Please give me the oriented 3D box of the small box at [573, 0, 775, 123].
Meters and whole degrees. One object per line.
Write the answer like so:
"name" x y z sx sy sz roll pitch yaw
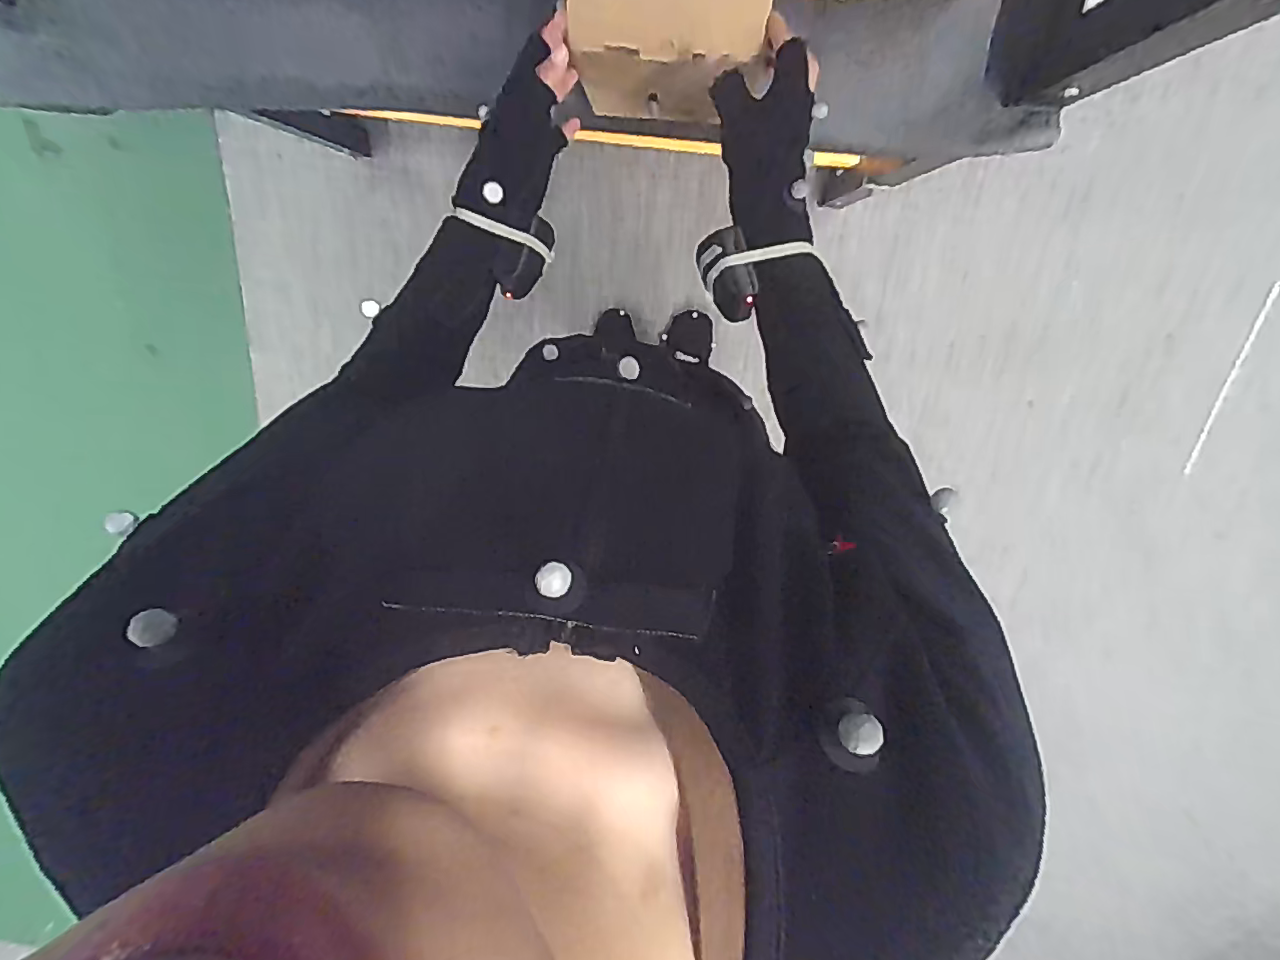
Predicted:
"small box" 0.037 -0.462 0.499 0.168 0.176 0.179 6 109 3
